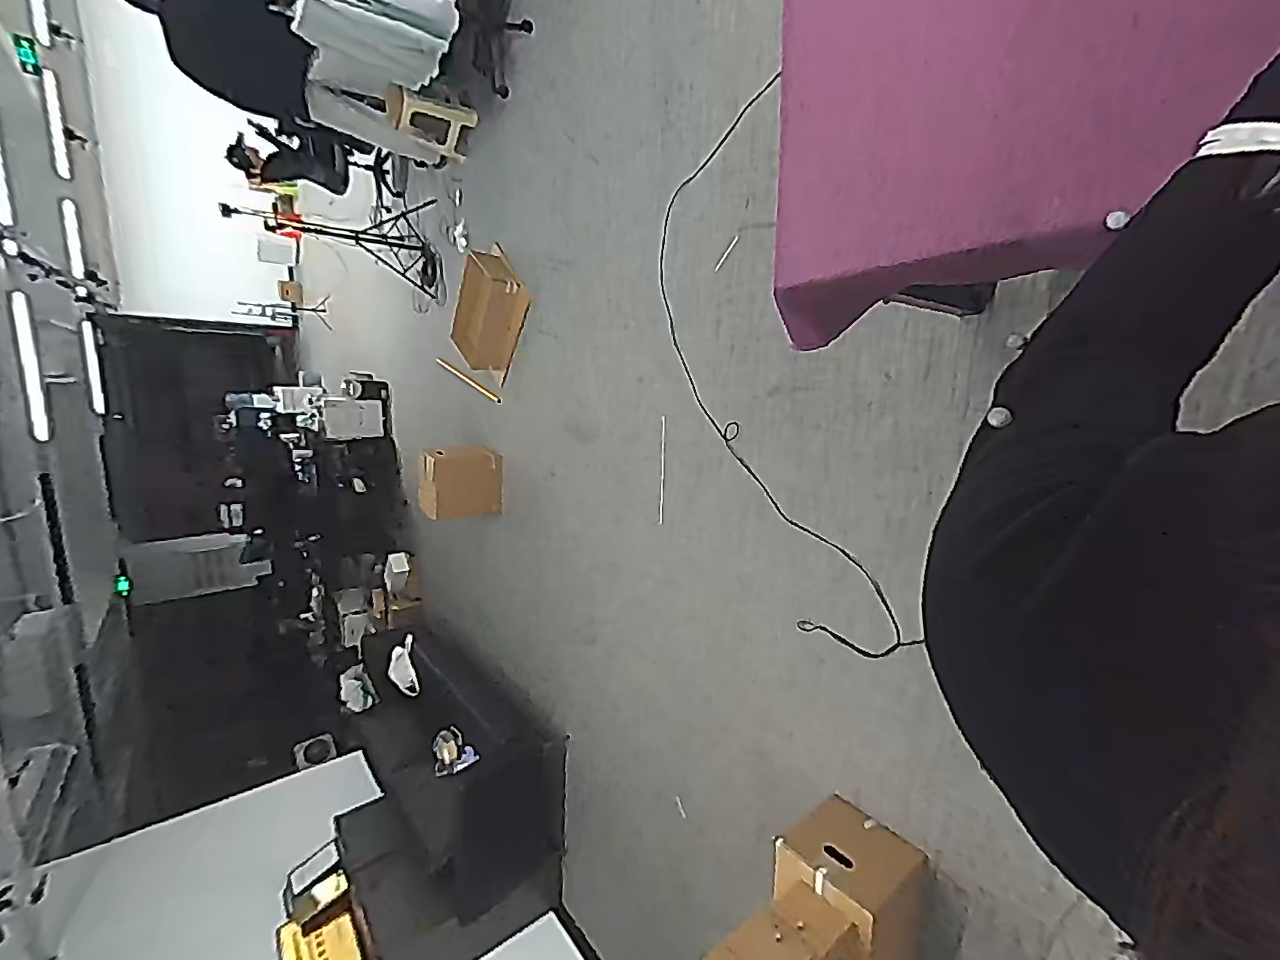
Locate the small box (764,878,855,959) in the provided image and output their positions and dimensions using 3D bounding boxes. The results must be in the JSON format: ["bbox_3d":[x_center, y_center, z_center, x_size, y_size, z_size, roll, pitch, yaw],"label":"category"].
[{"bbox_3d":[0.465,1.252,1.491,0.179,0.176,0.168,10,103,49],"label":"small box"}]

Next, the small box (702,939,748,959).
[{"bbox_3d":[0.207,1.272,1.287,0.168,0.176,0.179,15,105,48],"label":"small box"}]
